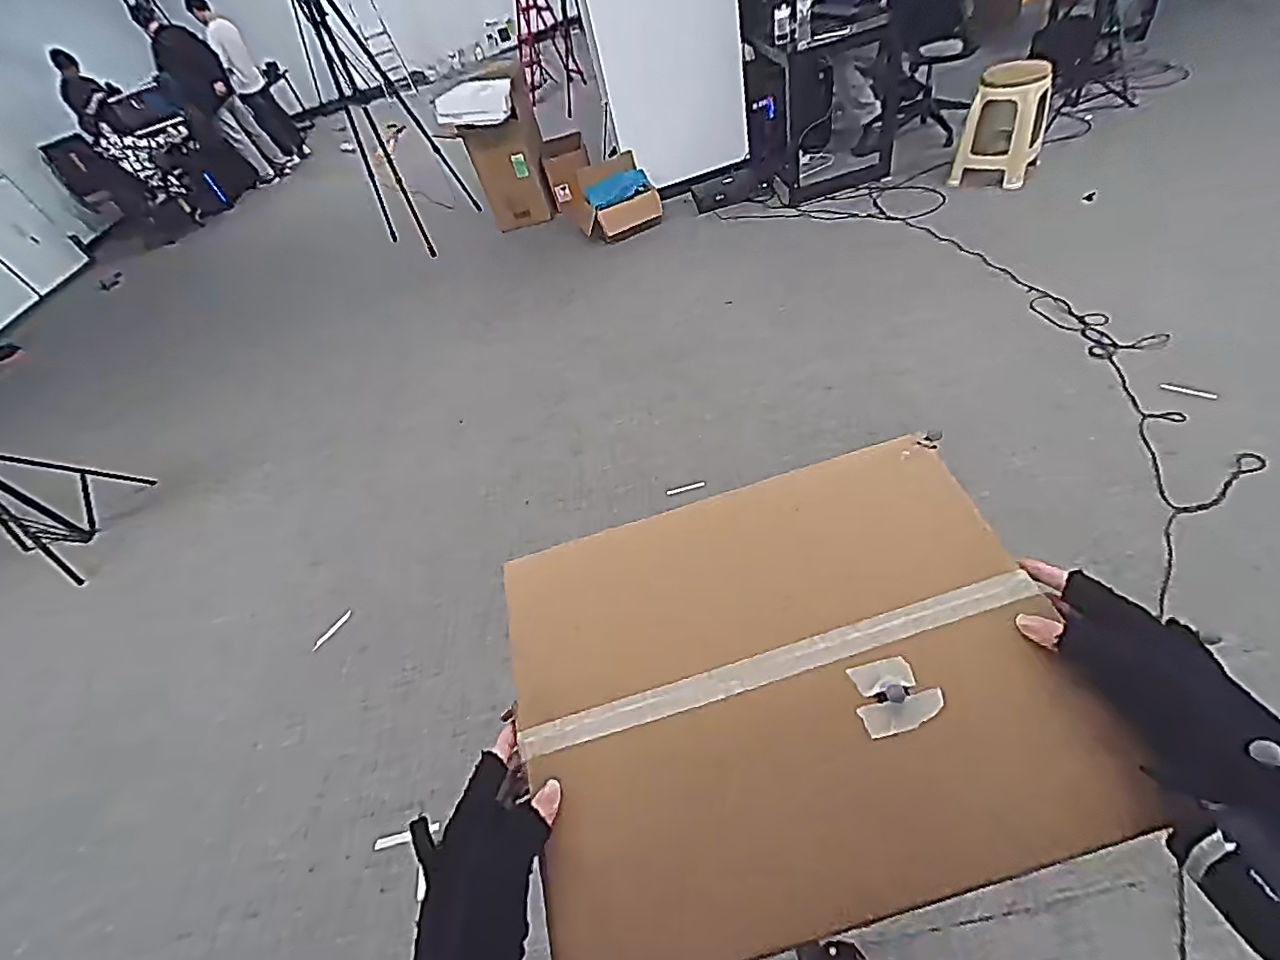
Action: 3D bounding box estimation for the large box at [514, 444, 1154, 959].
[{"bbox_3d":[0.131,0.227,0.551,0.408,0.320,0.320,-18,57,0],"label":"large box"}]
